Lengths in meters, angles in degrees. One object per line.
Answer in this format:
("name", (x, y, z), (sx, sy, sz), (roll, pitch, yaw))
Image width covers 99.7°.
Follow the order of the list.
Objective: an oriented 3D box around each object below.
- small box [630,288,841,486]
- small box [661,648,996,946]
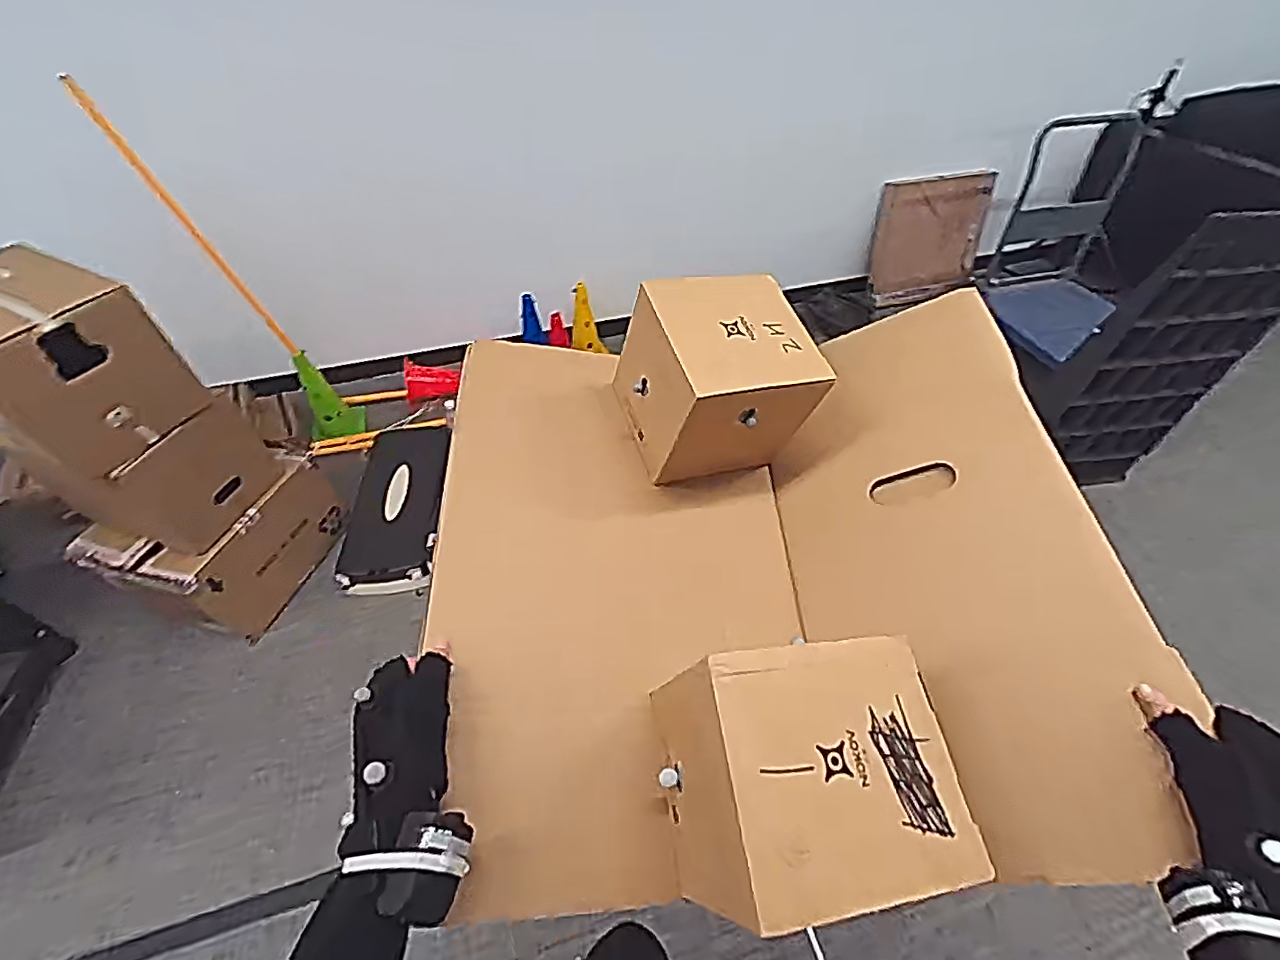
("small box", (0.096, -0.107, 0.652), (0.179, 0.176, 0.168), (-9, 63, -20))
("small box", (0.129, 0.244, 0.444), (0.179, 0.176, 0.168), (-1, 60, -14))
